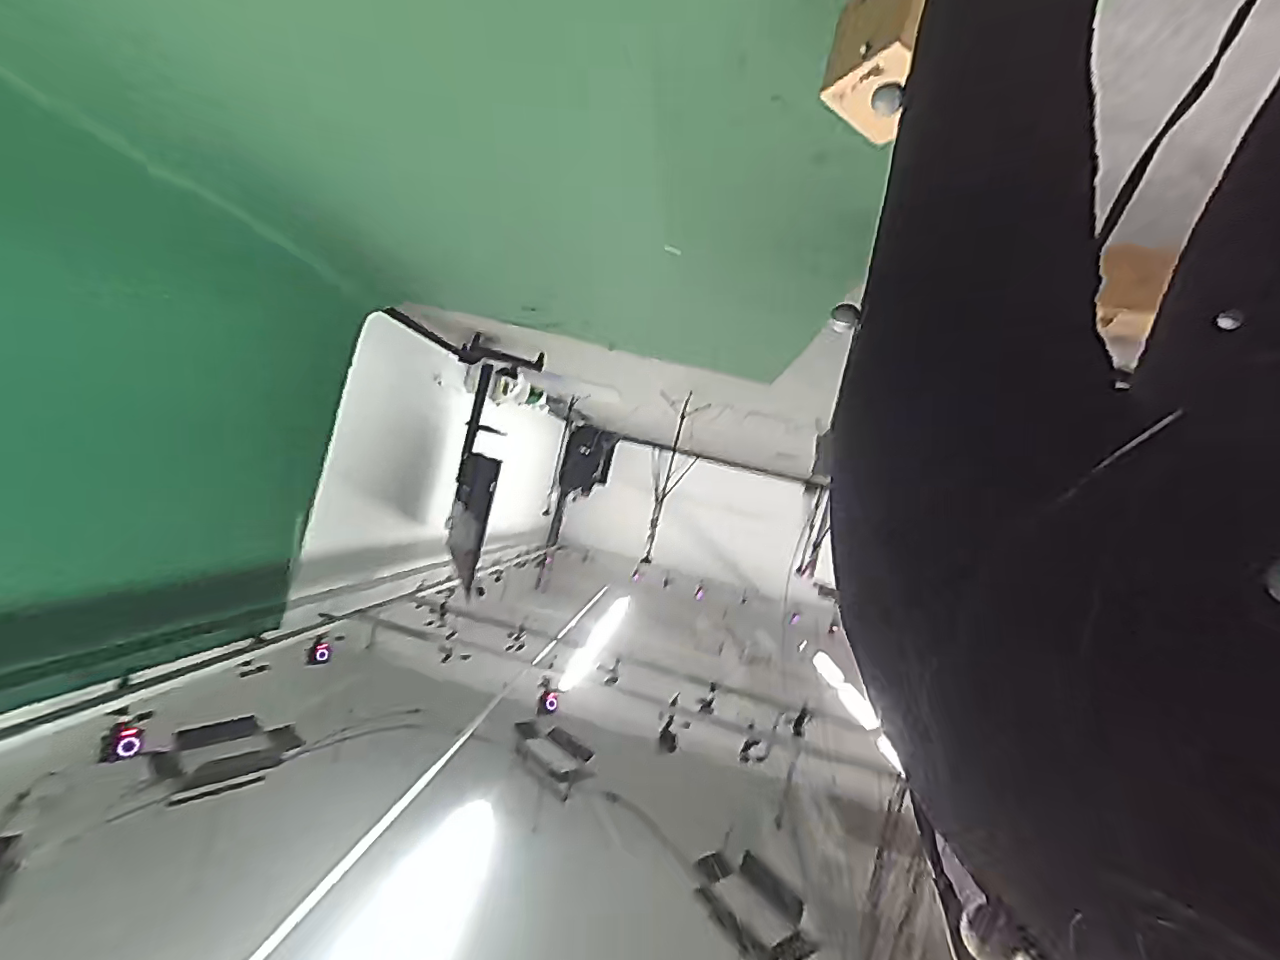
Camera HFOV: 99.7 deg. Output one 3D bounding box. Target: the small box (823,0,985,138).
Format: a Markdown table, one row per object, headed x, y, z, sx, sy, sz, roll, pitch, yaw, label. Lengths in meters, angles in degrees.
| x | y | z | sx | sy | sz | roll | pitch | yaw | label |
| --- | --- | --- | --- | --- | --- | --- | --- | --- | --- |
| 0.451 | -0.740 | 0.923 | 0.179 | 0.176 | 0.168 | 14 | 180 | -29 | small box |
